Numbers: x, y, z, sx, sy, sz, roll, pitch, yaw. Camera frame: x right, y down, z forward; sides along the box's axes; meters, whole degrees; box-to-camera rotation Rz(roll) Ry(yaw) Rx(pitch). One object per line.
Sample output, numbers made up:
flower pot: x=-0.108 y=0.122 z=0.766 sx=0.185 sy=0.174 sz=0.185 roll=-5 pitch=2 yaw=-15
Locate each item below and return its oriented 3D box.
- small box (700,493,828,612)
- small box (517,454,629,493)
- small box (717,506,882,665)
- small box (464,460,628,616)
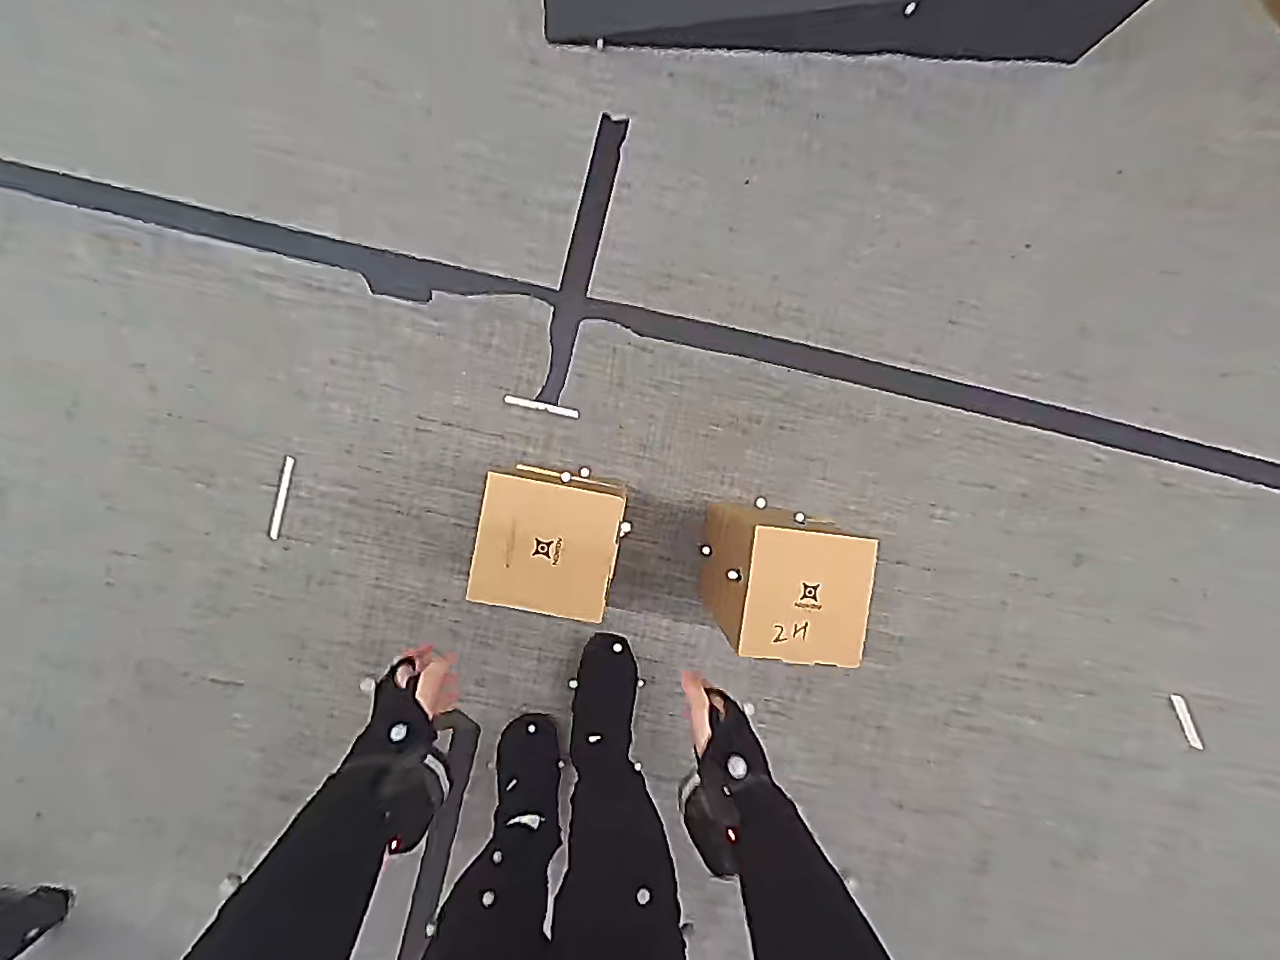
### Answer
small box: x=0.202 y=0.125 z=0.928 sx=0.168 sy=0.176 sz=0.179 roll=7 pitch=93 yaw=-4
small box: x=-0.125 y=0.054 z=0.905 sx=0.179 sy=0.176 sz=0.168 roll=14 pitch=93 yaw=-5
small box: x=0.212 y=0.137 z=0.764 sx=0.168 sy=0.176 sz=0.179 roll=8 pitch=94 yaw=-3
small box: x=-0.119 y=0.068 z=0.741 sx=0.179 sy=0.176 sz=0.168 roll=12 pitch=93 yaw=-3
